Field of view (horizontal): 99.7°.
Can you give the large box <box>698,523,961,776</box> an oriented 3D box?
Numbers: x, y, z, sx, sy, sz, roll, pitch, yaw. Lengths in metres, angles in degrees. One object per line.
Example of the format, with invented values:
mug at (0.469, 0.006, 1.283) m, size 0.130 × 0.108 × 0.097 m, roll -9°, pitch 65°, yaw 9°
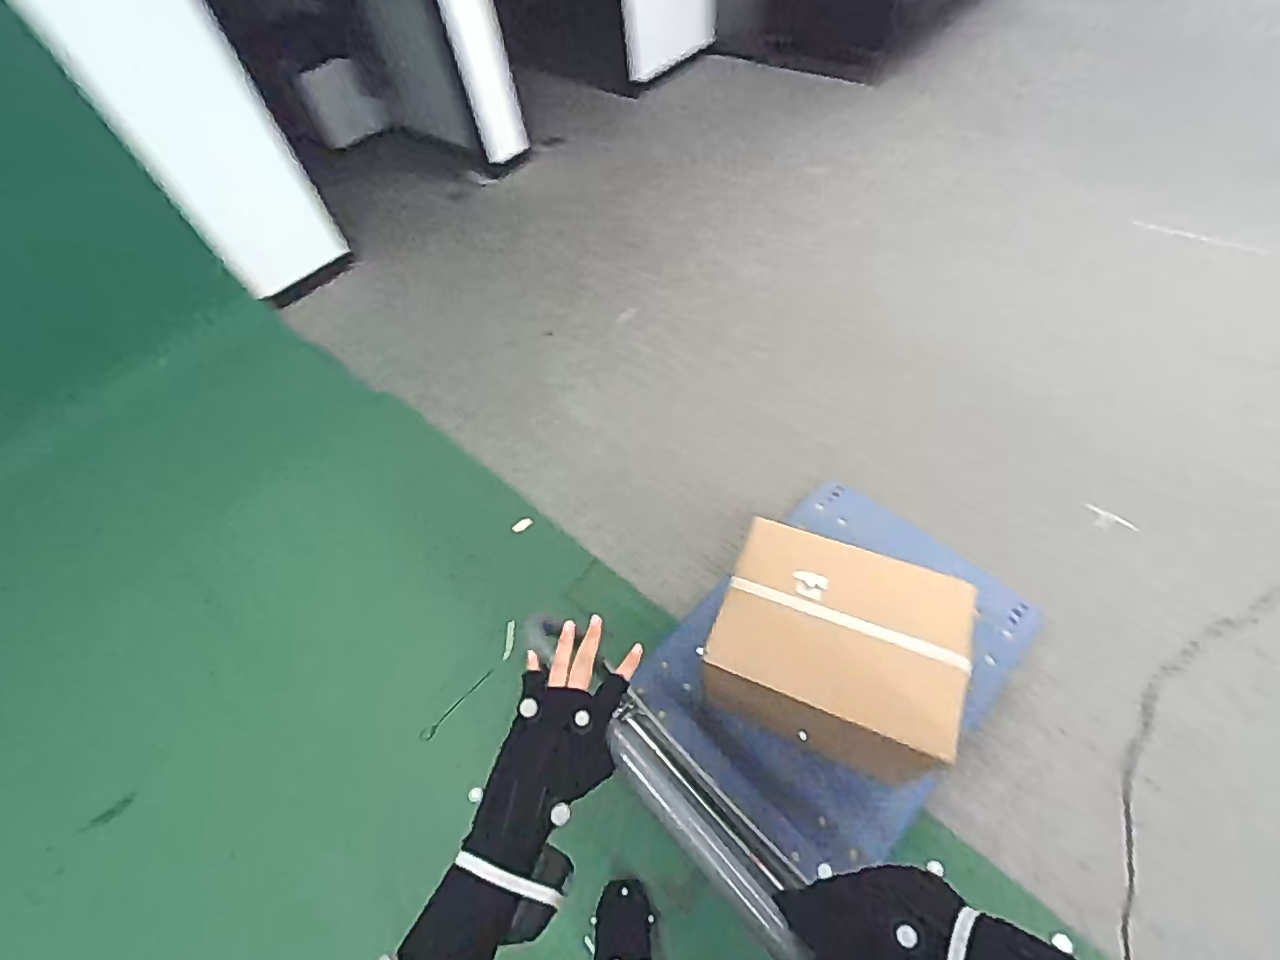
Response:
large box at (0.360, 0.337, 1.077) m, size 0.408 × 0.320 × 0.320 m, roll 16°, pitch 58°, yaw 19°
